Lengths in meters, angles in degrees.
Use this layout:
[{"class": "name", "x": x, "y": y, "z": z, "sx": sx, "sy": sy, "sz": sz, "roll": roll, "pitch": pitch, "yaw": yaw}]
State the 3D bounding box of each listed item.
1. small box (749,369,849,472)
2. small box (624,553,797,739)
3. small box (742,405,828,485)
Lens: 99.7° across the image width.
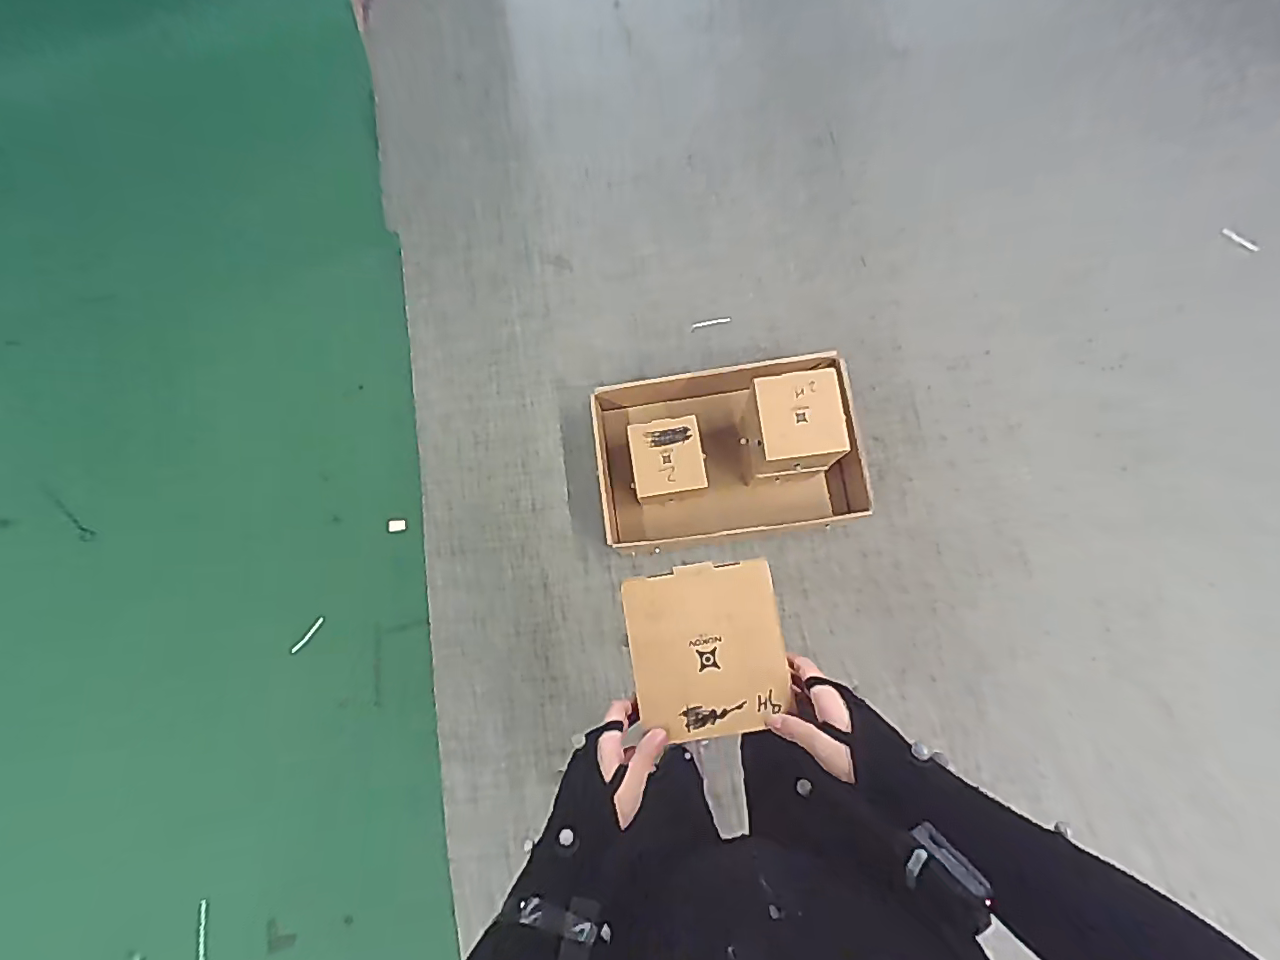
[{"class": "small box", "x": 0.330, "y": -0.117, "z": 1.152, "sx": 0.168, "sy": 0.176, "sz": 0.179, "roll": -7, "pitch": 80, "yaw": 4}, {"class": "small box", "x": 0.075, "y": 0.191, "z": 0.657, "sx": 0.168, "sy": 0.176, "sz": 0.179, "roll": -9, "pitch": 80, "yaw": 1}, {"class": "small box", "x": 0.345, "y": -0.087, "z": 1.314, "sx": 0.168, "sy": 0.176, "sz": 0.179, "roll": -7, "pitch": 80, "yaw": 5}]
